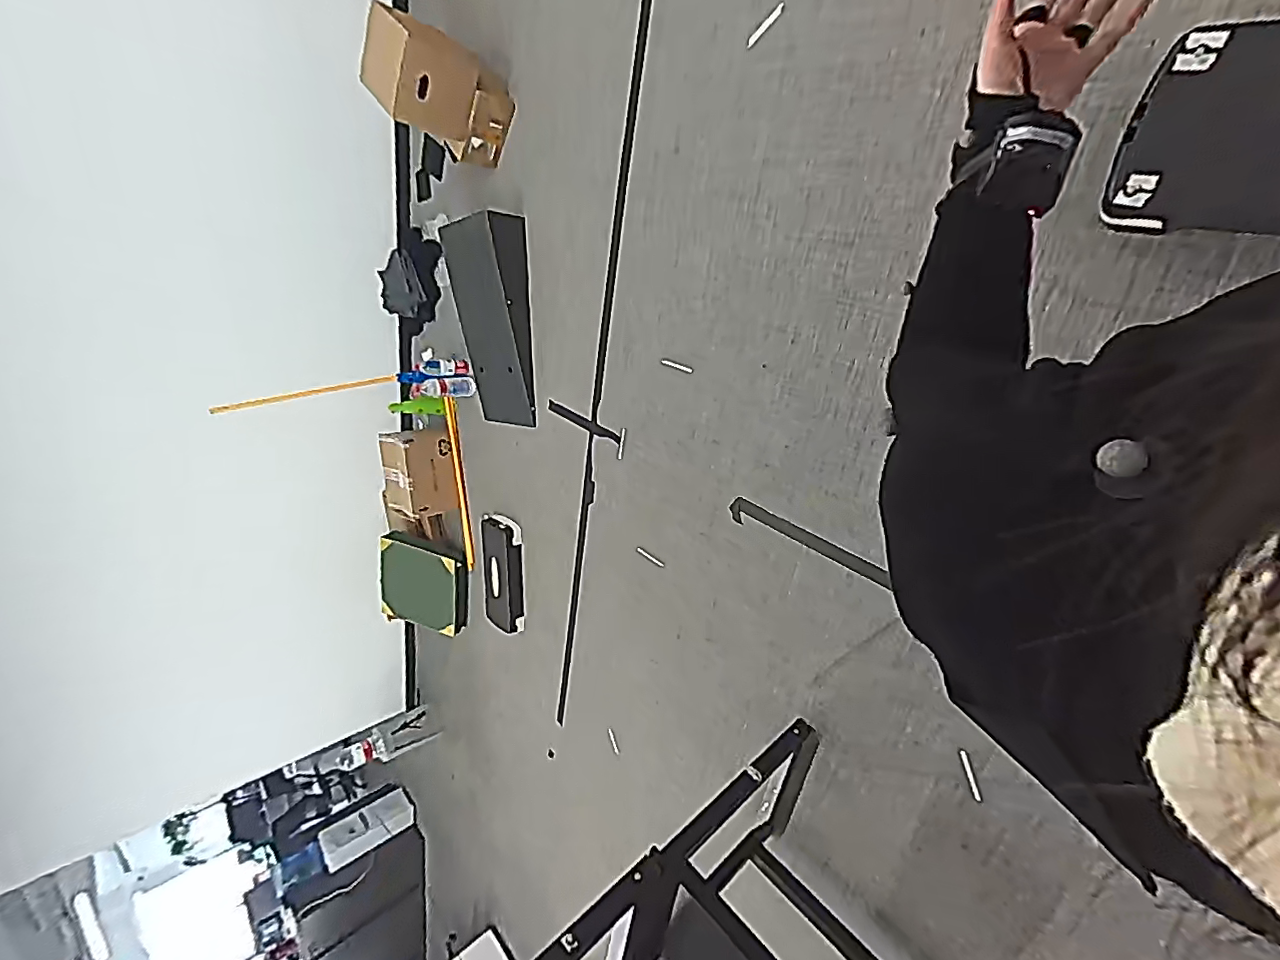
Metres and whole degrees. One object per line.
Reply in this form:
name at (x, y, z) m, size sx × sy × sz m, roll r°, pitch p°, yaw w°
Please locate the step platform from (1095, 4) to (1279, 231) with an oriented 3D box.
step platform at (1.117, -0.499, 0.794) m, size 0.684 × 0.204 × 0.286 m, roll 37°, pitch 124°, yaw 36°
